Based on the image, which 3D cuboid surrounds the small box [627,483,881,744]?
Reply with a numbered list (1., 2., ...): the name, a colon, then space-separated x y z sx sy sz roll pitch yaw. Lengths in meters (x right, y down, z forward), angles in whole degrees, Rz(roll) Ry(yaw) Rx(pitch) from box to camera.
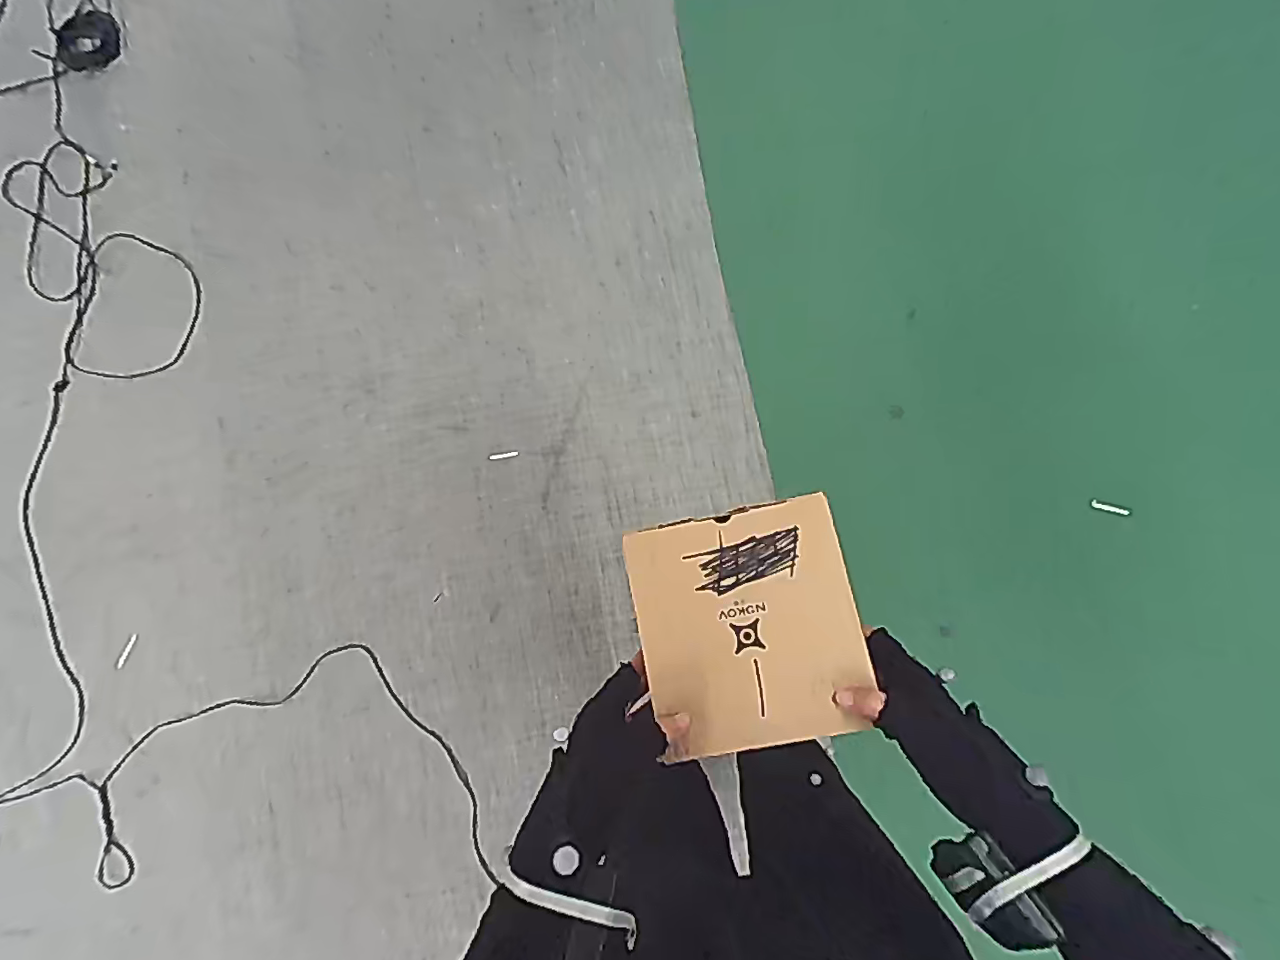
1. small box: 0.090 0.116 0.493 0.168 0.176 0.179 -12 78 5
